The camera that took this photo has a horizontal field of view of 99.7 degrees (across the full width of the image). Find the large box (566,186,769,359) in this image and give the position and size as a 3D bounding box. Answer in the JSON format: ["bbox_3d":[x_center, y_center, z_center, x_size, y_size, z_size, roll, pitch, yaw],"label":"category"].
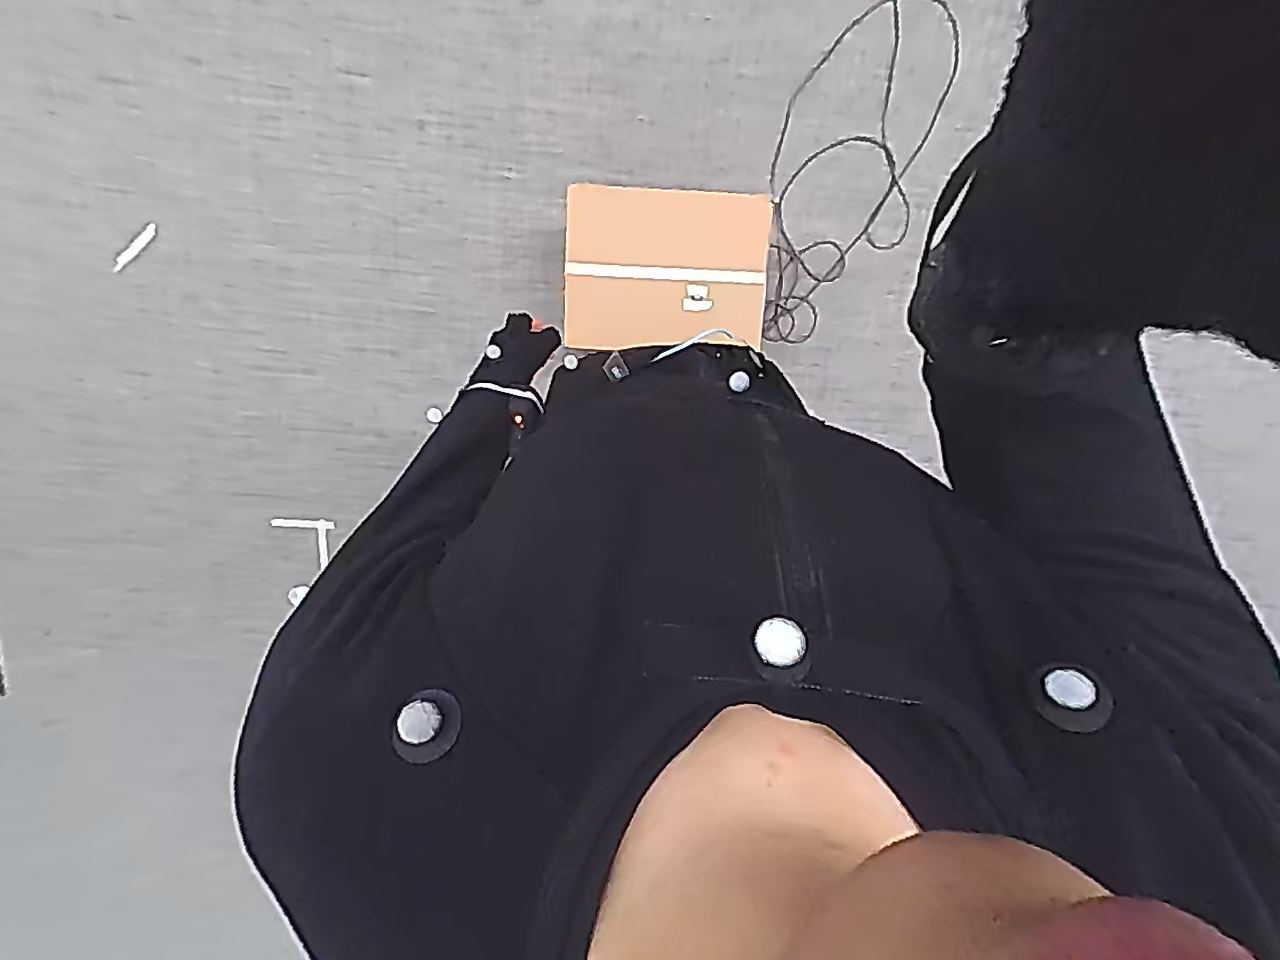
[{"bbox_3d":[0.048,-0.447,1.241,0.408,0.320,0.320,3,102,-1],"label":"large box"}]
